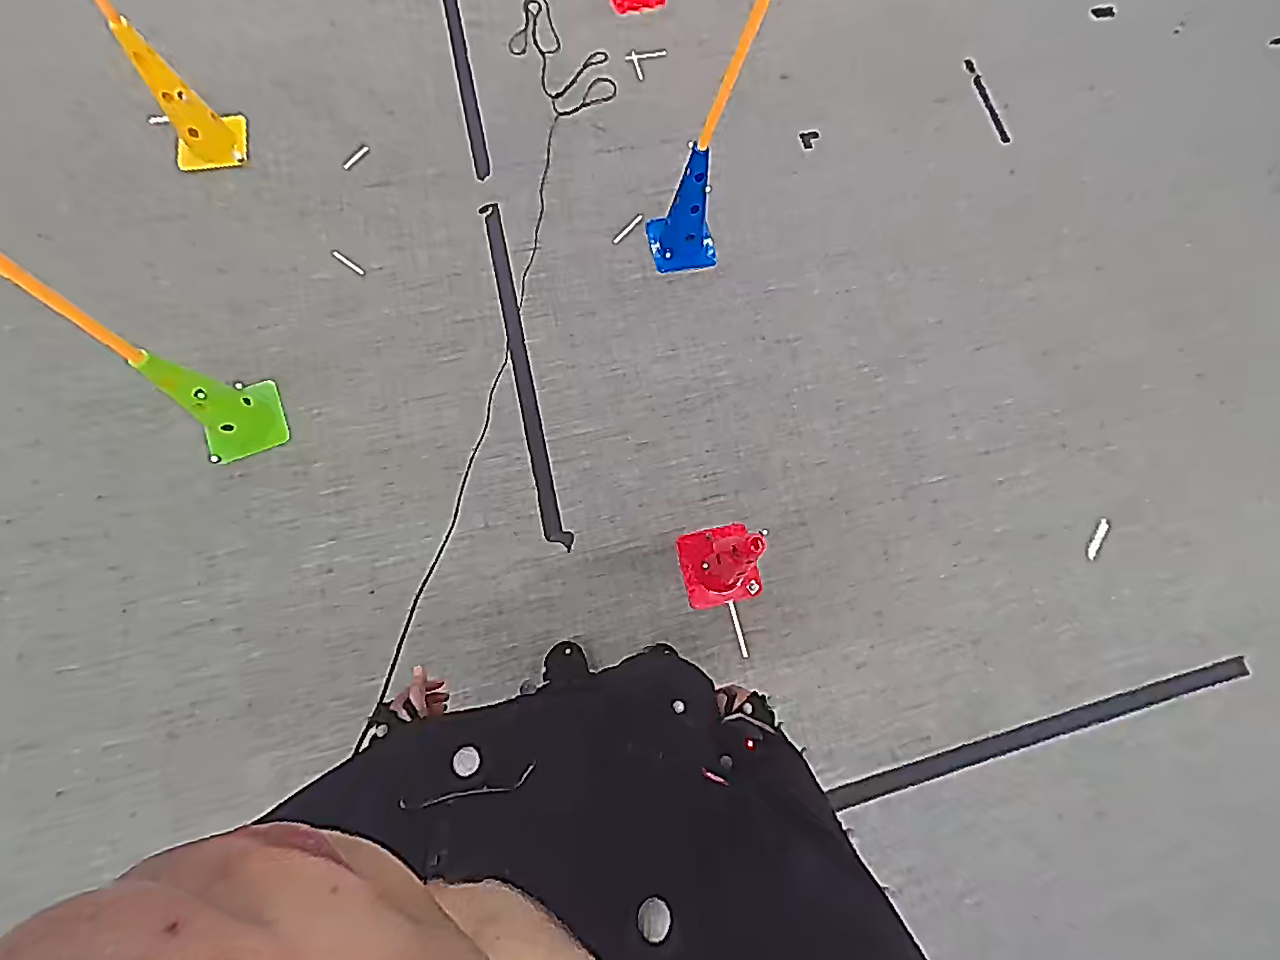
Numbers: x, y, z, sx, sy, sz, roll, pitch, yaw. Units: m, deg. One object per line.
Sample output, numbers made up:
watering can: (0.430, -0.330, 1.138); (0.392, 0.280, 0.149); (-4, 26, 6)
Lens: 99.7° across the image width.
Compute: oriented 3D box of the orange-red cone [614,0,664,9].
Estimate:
orange-red cone: (-0.011, -1.880, 1.845); (0.199, 0.360, 0.198); (-18, 75, -8)

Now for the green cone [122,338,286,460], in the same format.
green cone: (-1.060, -0.219, 1.290); (0.200, 0.368, 0.202); (-23, 75, -10)

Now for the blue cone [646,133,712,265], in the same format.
blue cone: (0.137, -0.816, 1.563); (0.193, 0.380, 0.192); (-9, 74, -7)
